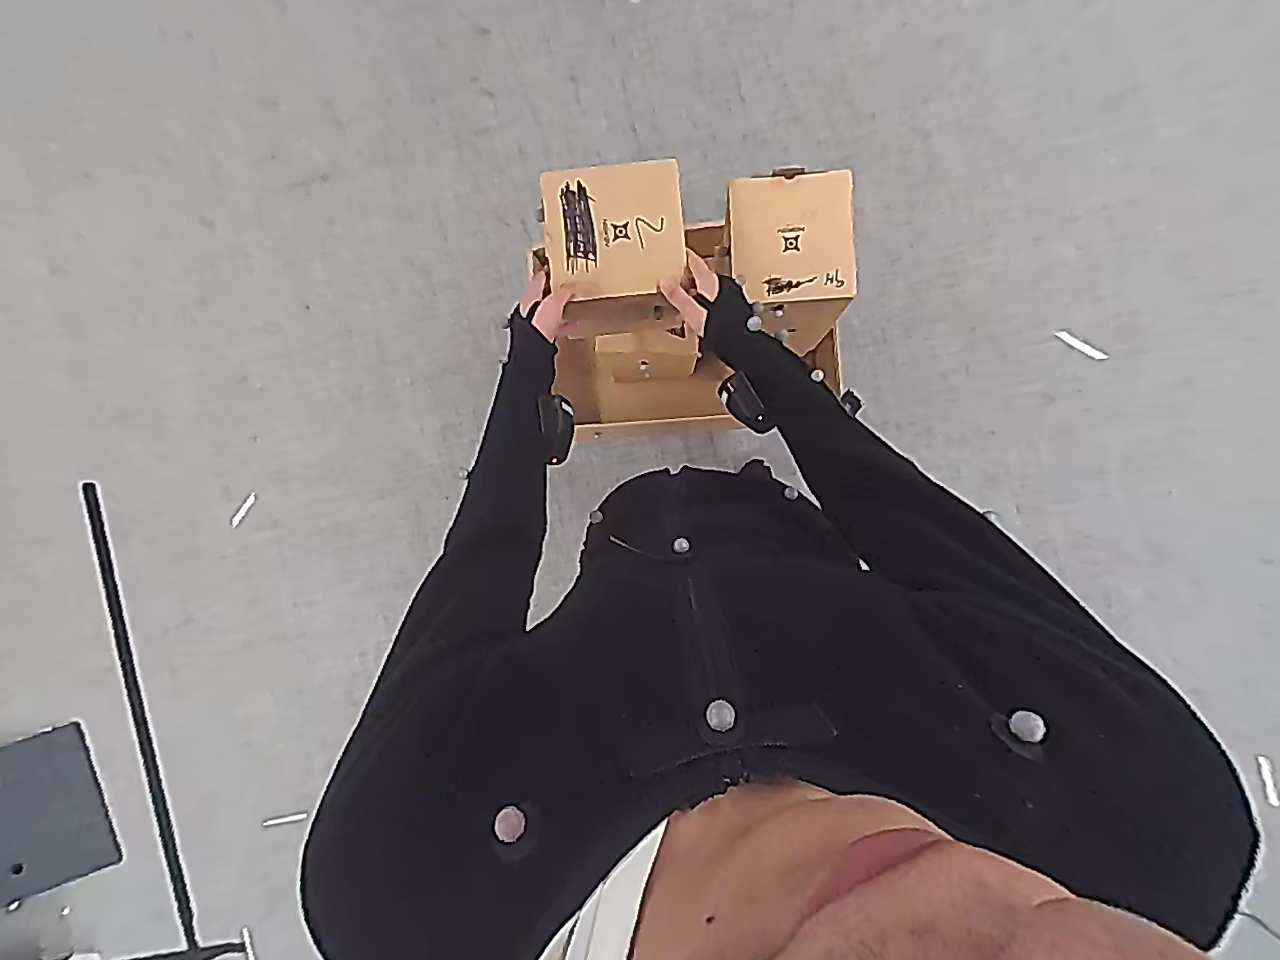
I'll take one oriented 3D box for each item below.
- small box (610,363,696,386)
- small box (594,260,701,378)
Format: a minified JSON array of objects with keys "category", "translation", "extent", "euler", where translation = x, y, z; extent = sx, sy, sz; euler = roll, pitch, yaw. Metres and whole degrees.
[{"category":"small box","translation":[0.022,-0.298,1.149],"extent":[0.179,0.176,0.168],"euler":[-3,89,3]},{"category":"small box","translation":[0.016,-0.285,0.985],"extent":[0.179,0.176,0.168],"euler":[2,90,4]}]
